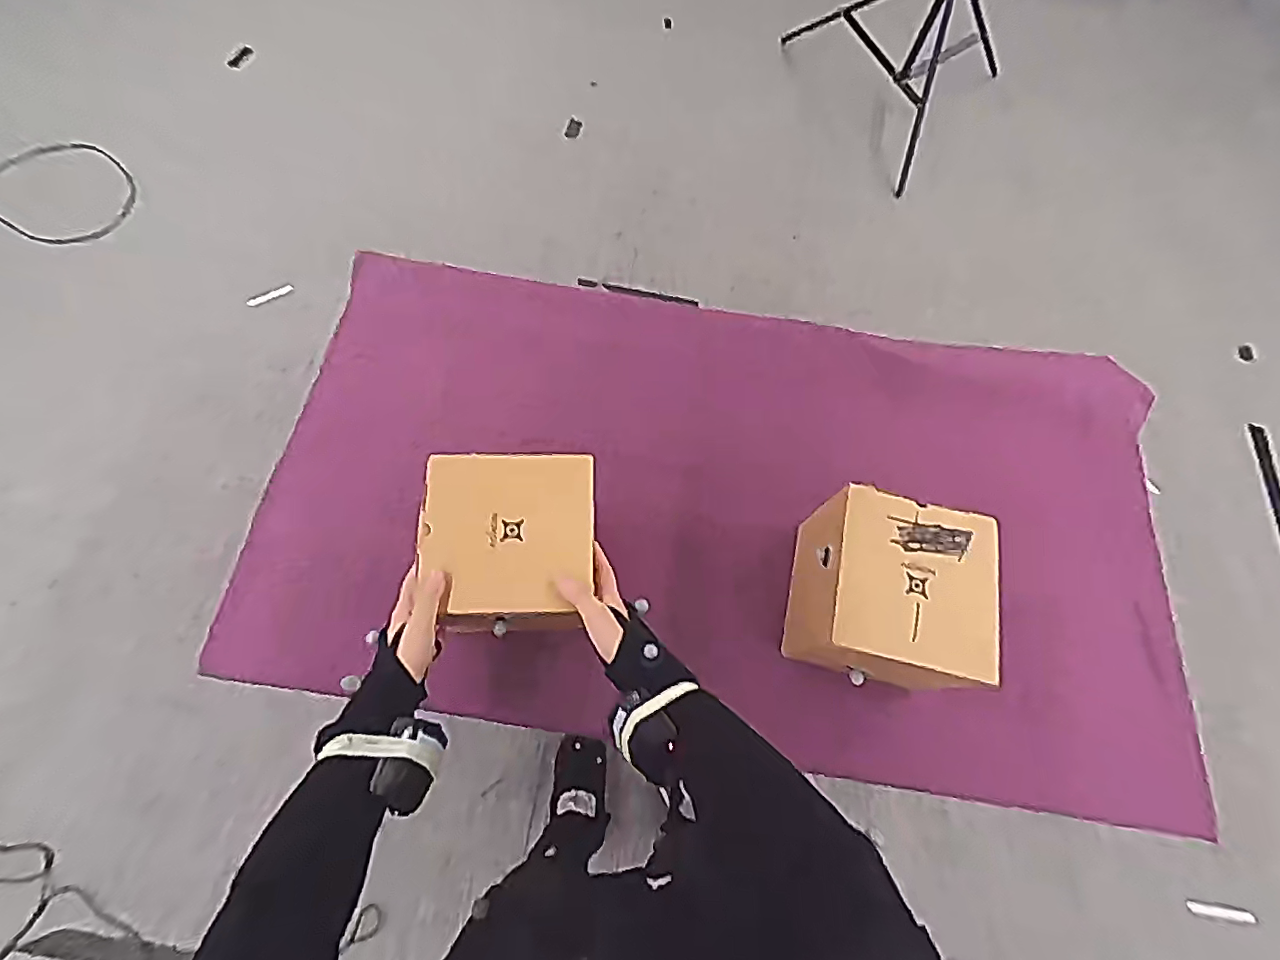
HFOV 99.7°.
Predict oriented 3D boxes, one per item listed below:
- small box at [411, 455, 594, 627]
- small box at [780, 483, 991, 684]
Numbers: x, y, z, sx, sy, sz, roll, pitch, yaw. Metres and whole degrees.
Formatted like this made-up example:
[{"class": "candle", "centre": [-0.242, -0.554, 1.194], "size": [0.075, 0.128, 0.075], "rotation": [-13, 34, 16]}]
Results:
[{"class": "small box", "centre": [-0.141, 0.078, 0.625], "size": [0.179, 0.176, 0.168], "rotation": [-1, 70, -4]}, {"class": "small box", "centre": [0.275, 0.129, 0.632], "size": [0.168, 0.176, 0.179], "rotation": [14, 69, 2]}]
